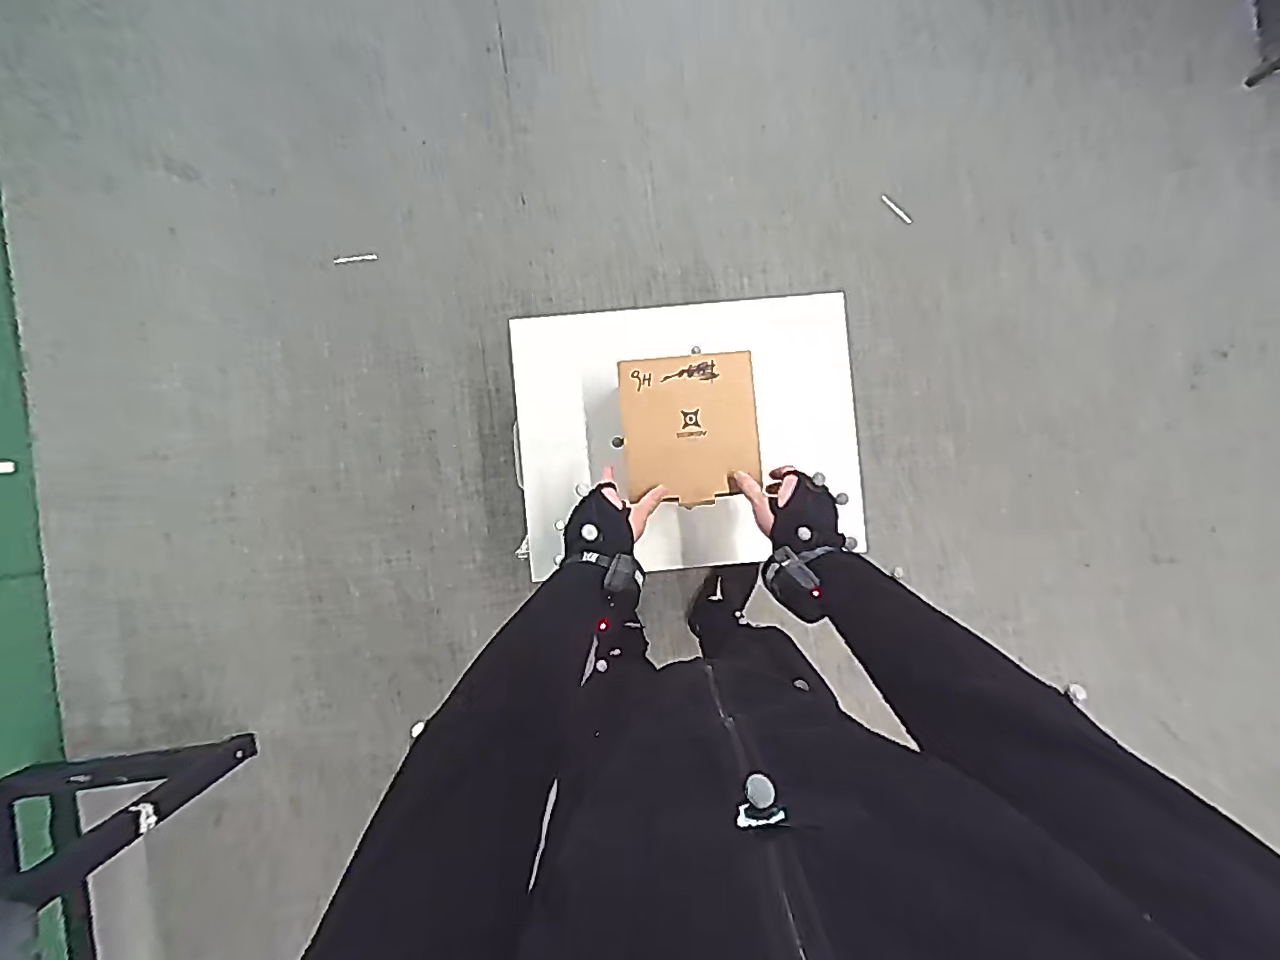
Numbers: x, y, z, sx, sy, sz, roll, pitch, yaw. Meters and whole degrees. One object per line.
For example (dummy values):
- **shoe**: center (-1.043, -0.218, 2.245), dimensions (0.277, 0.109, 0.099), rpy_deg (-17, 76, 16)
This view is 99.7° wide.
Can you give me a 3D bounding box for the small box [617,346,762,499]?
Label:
- **small box**: center (0.062, -0.070, 0.744), dimensions (0.168, 0.176, 0.179), rpy_deg (-7, 88, 0)
